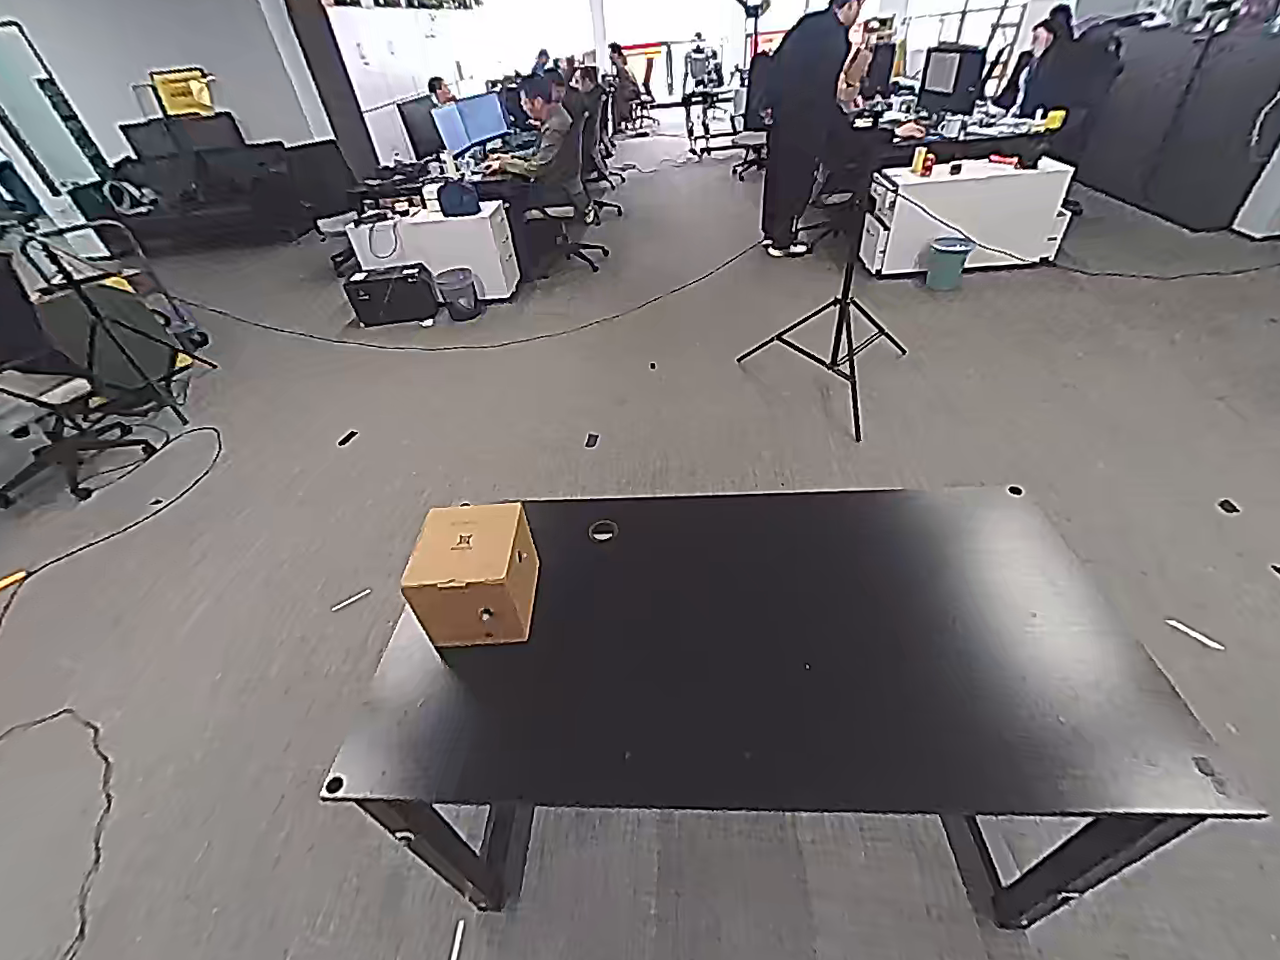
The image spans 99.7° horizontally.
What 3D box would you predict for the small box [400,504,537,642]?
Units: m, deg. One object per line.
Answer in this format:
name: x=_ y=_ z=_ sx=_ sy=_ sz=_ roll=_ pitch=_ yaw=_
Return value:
small box: x=-0.279 y=0.163 z=0.926 sx=0.168 sy=0.176 sz=0.179 roll=-3 pitch=40 yaw=1
